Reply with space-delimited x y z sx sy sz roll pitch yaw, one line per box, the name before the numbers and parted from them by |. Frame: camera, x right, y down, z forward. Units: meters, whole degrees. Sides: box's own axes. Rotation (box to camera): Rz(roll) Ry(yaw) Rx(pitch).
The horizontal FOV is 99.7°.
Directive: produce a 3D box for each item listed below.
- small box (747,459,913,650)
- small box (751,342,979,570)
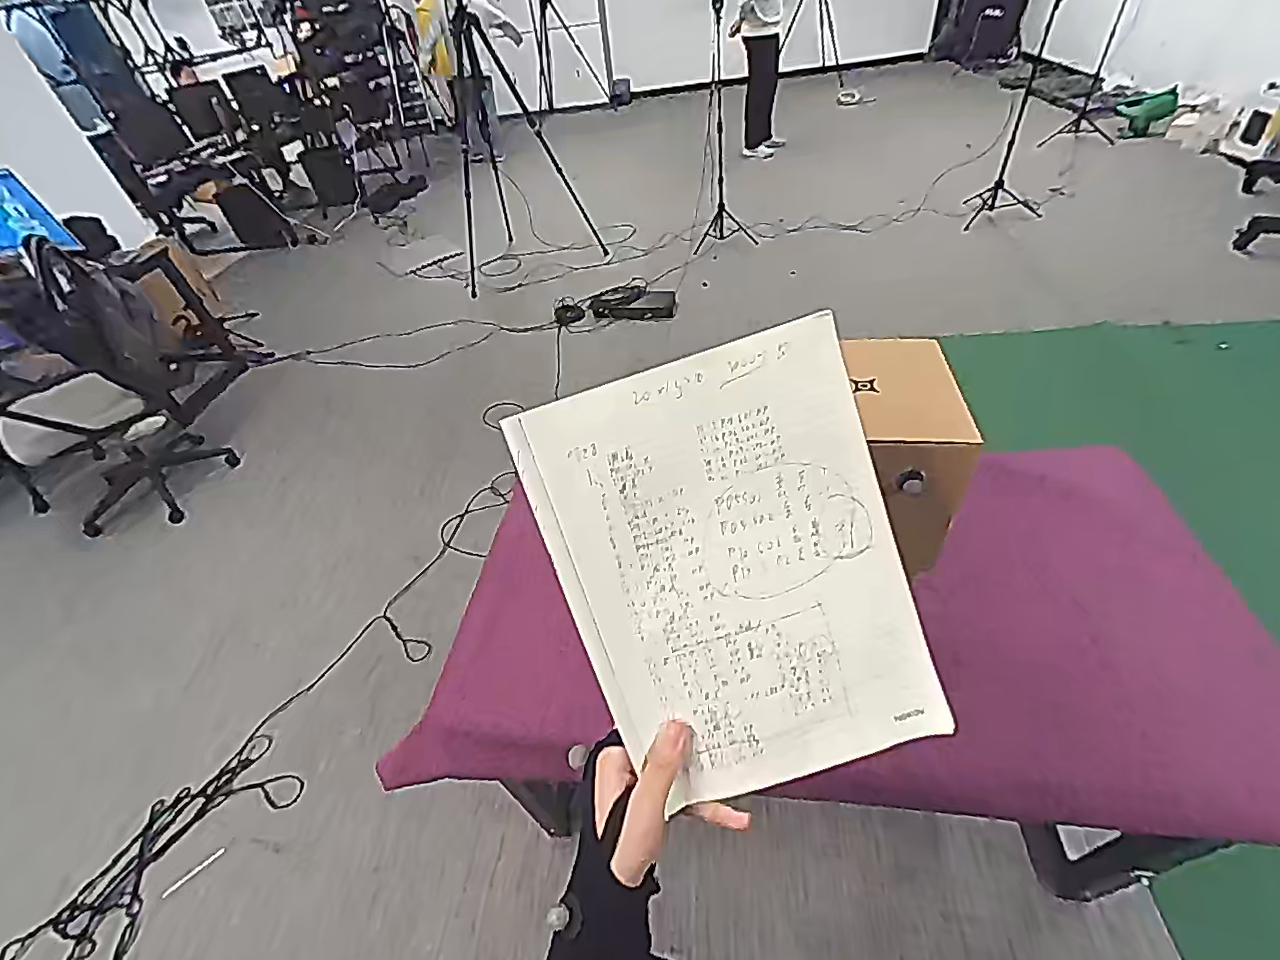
small box | 0.218 0.092 0.670 0.168 0.176 0.179 0 43 10
small box | 0.207 -0.024 0.552 0.179 0.176 0.168 1 43 12
